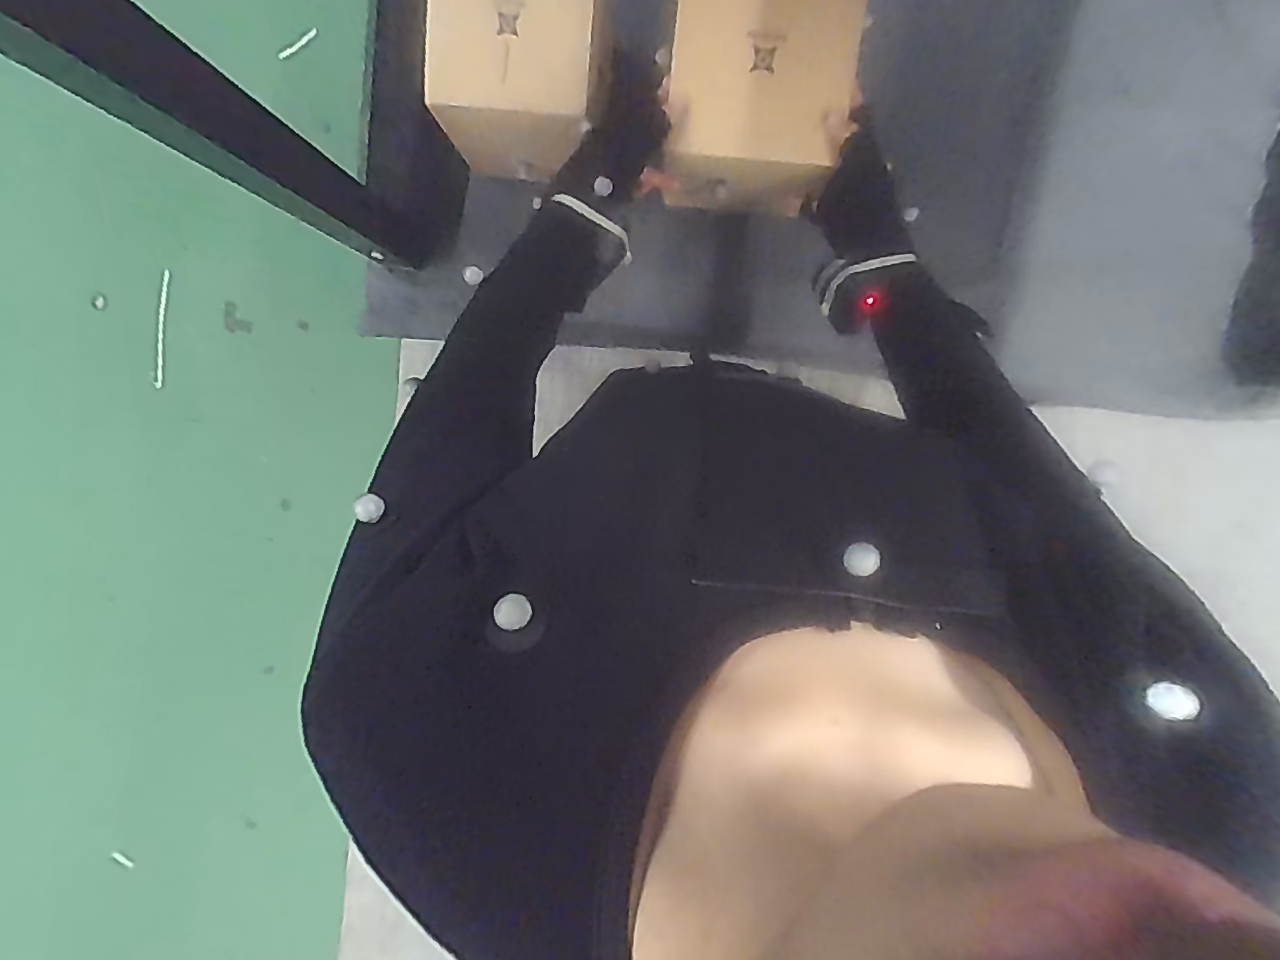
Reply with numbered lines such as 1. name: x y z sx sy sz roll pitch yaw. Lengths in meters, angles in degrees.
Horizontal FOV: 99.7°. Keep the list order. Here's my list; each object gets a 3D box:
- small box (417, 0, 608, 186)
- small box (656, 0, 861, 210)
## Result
1. small box: -0.129 -0.464 0.606 0.168 0.176 0.179 6 97 1
2. small box: 0.110 -0.396 0.554 0.168 0.176 0.179 6 101 2
